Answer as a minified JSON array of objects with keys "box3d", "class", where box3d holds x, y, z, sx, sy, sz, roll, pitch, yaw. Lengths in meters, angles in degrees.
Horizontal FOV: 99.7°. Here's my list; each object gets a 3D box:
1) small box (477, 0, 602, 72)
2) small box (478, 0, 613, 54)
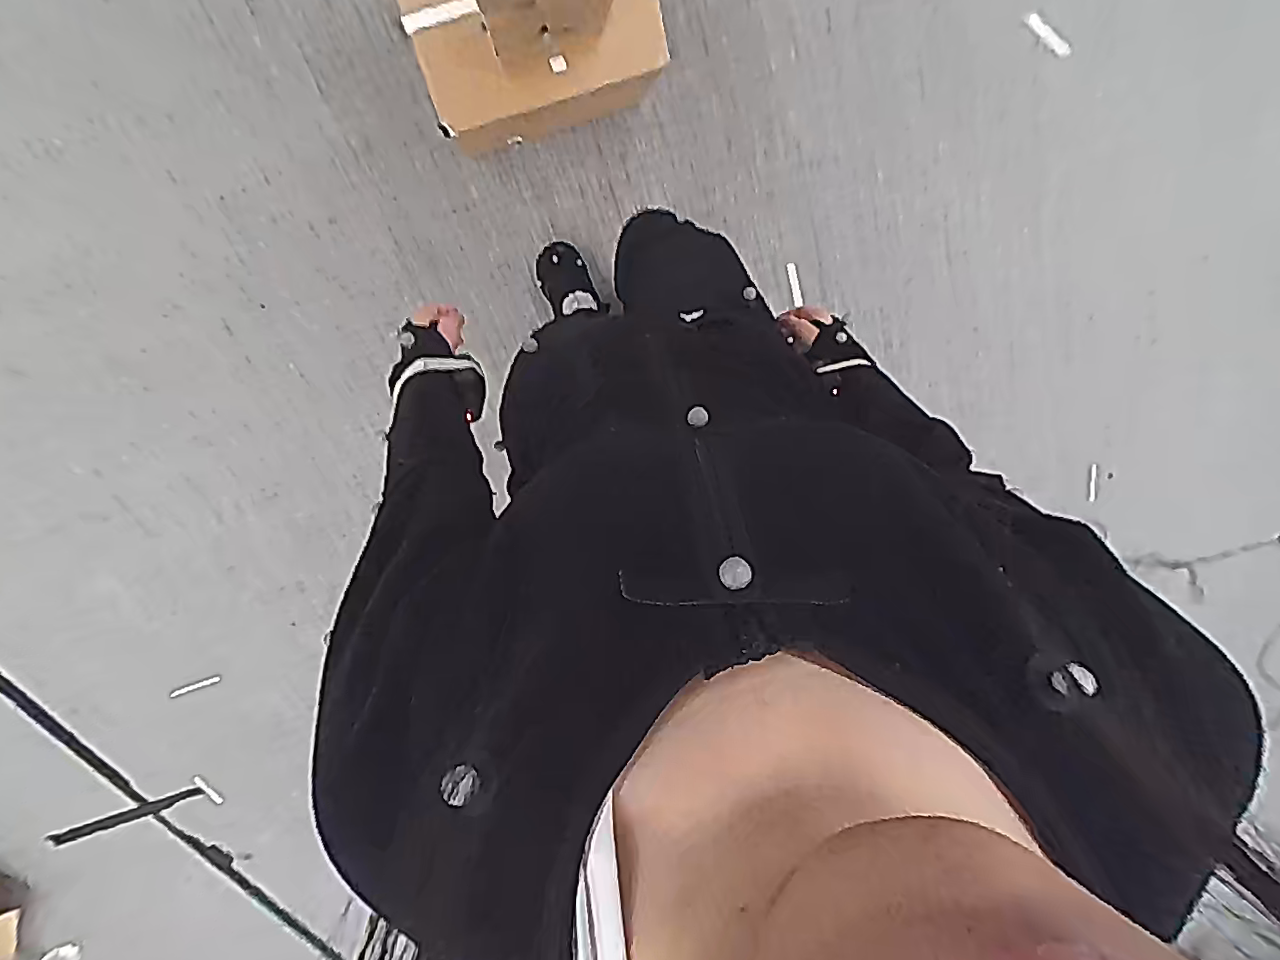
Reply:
[{"box3d":[-0.156,-0.730,0.784,0.179,0.176,0.168,-21,117,-1],"class":"small box"},{"box3d":[-0.132,-0.654,0.642,0.168,0.176,0.179,-20,118,0],"class":"small box"}]
